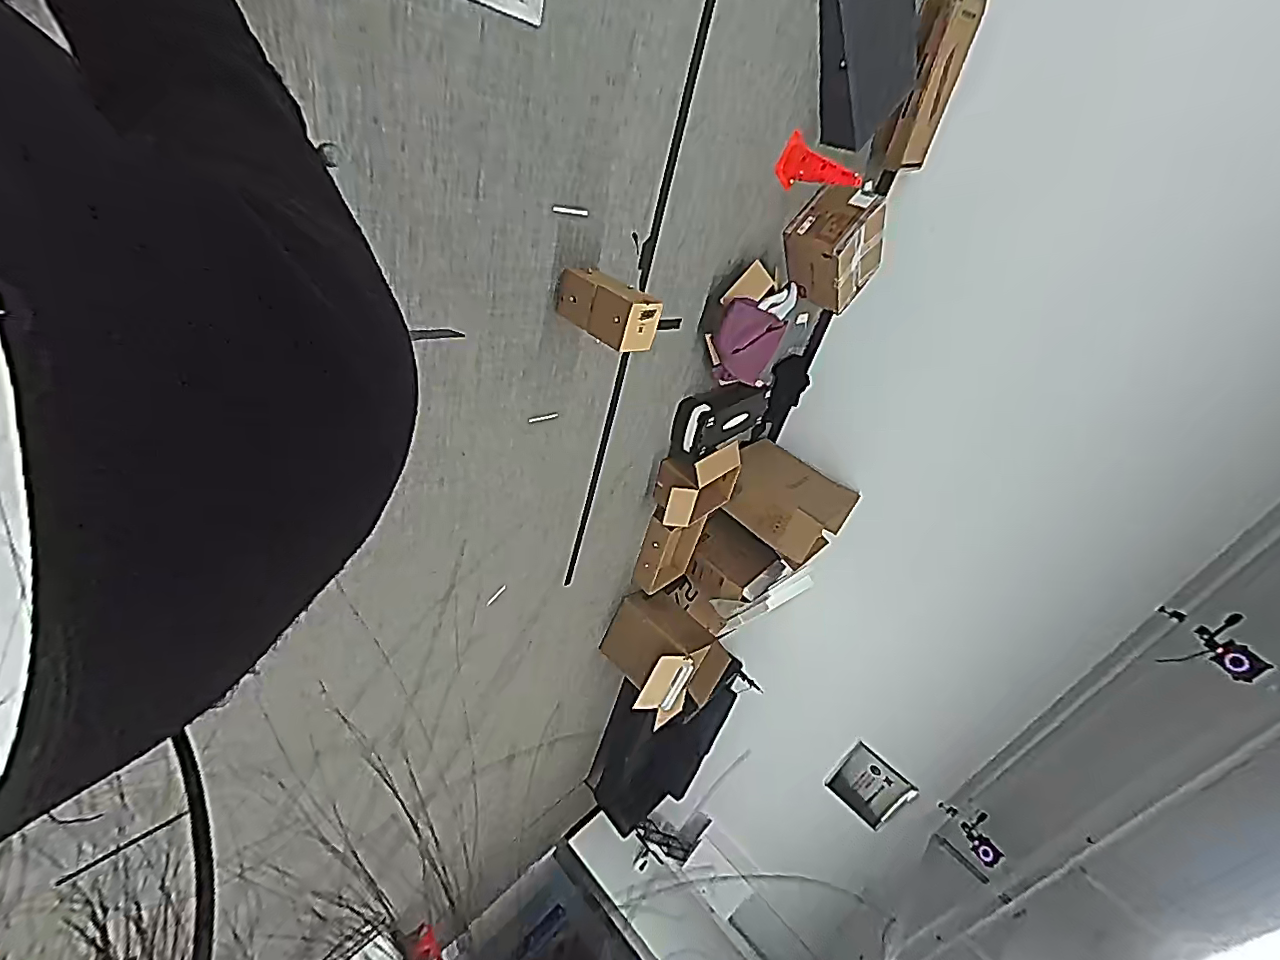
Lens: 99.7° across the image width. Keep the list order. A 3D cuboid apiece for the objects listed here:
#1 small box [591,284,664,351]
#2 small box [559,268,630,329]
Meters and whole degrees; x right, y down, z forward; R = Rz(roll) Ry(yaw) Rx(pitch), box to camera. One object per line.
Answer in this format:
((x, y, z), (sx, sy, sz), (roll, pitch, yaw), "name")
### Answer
((-0.050, -0.570, 1.885), (0.168, 0.176, 0.179), (-19, 138, -46), "small box")
((-0.171, -0.658, 1.958), (0.179, 0.176, 0.168), (-18, 136, -46), "small box")
